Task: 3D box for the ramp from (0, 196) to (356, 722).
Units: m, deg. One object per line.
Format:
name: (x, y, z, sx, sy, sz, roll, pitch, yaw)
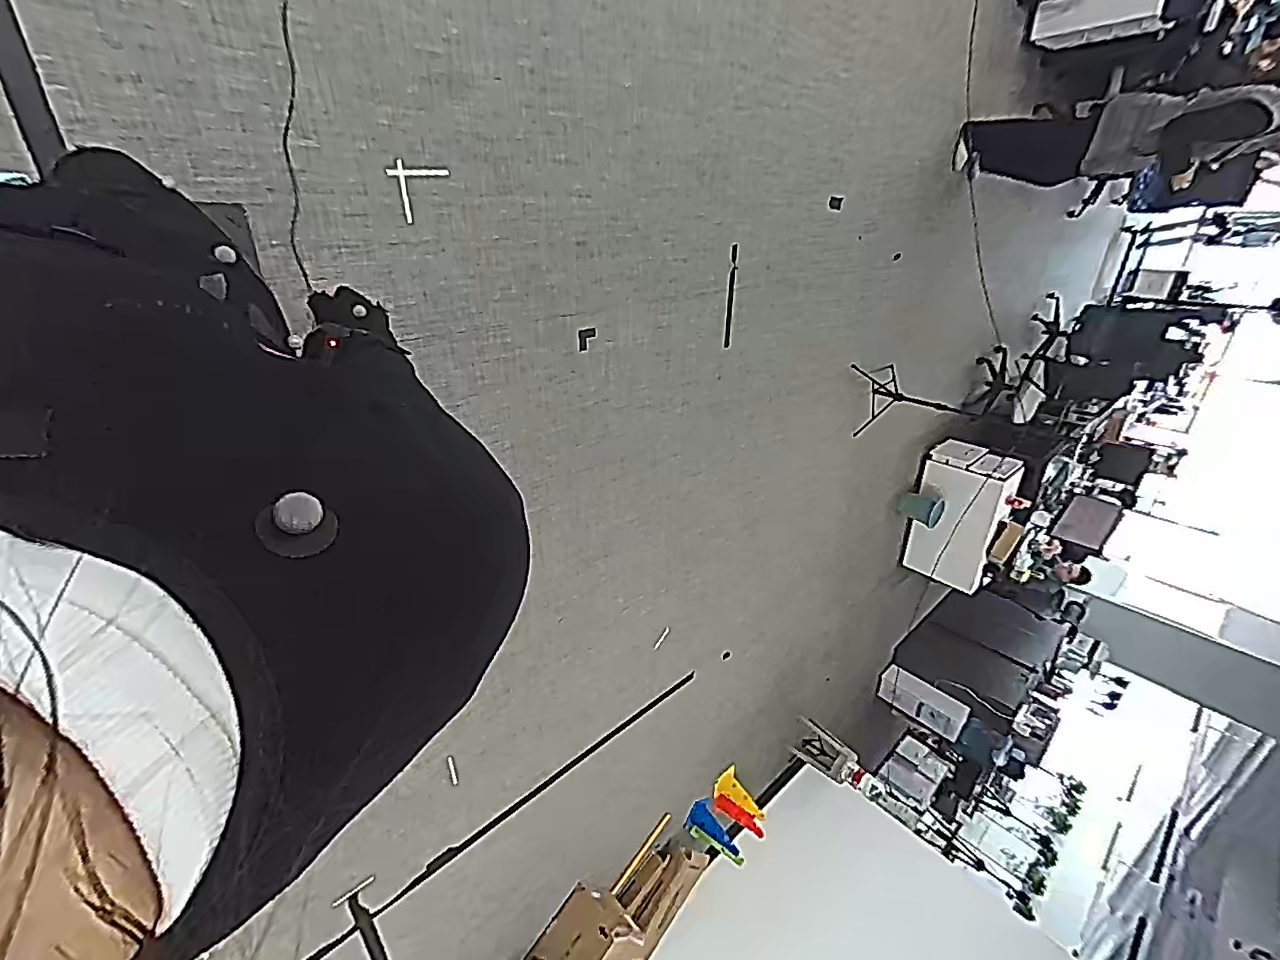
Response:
ramp: (-0.972, -0.033, 1.119, 0.509, 0.206, 0.991, -20, 122, -36)
